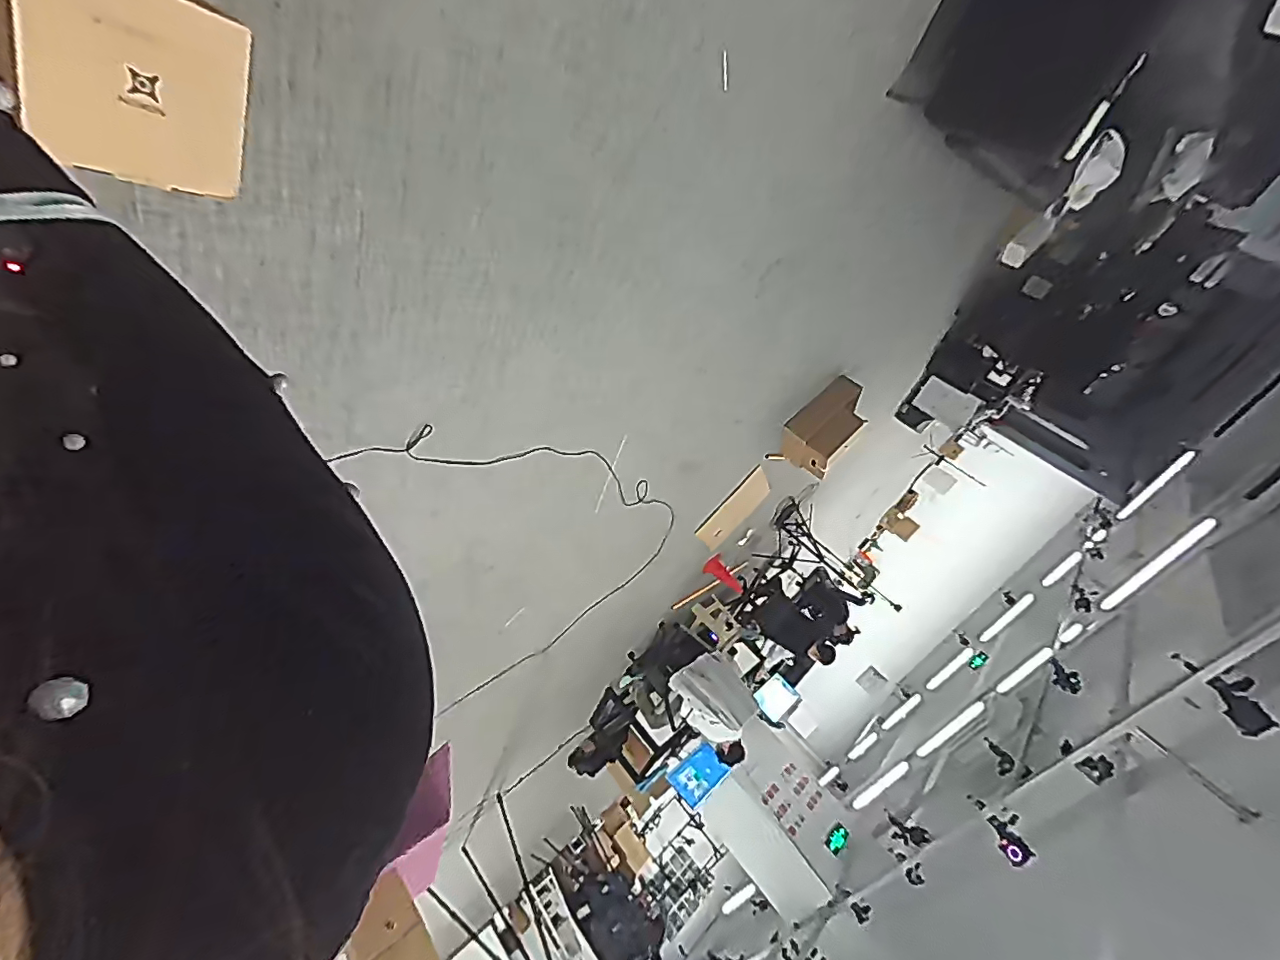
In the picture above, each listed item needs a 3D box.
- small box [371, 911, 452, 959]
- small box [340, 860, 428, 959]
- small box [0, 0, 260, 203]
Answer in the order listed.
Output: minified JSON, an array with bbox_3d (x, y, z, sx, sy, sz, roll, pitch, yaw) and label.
[{"bbox_3d":[-0.658,1.385,1.529,0.179,0.176,0.168,-18,142,-45],"label":"small box"},{"bbox_3d":[-0.760,1.282,1.604,0.179,0.176,0.168,-16,140,-45],"label":"small box"},{"bbox_3d":[-0.520,-0.422,0.551,0.168,0.176,0.179,-12,135,-51],"label":"small box"}]
